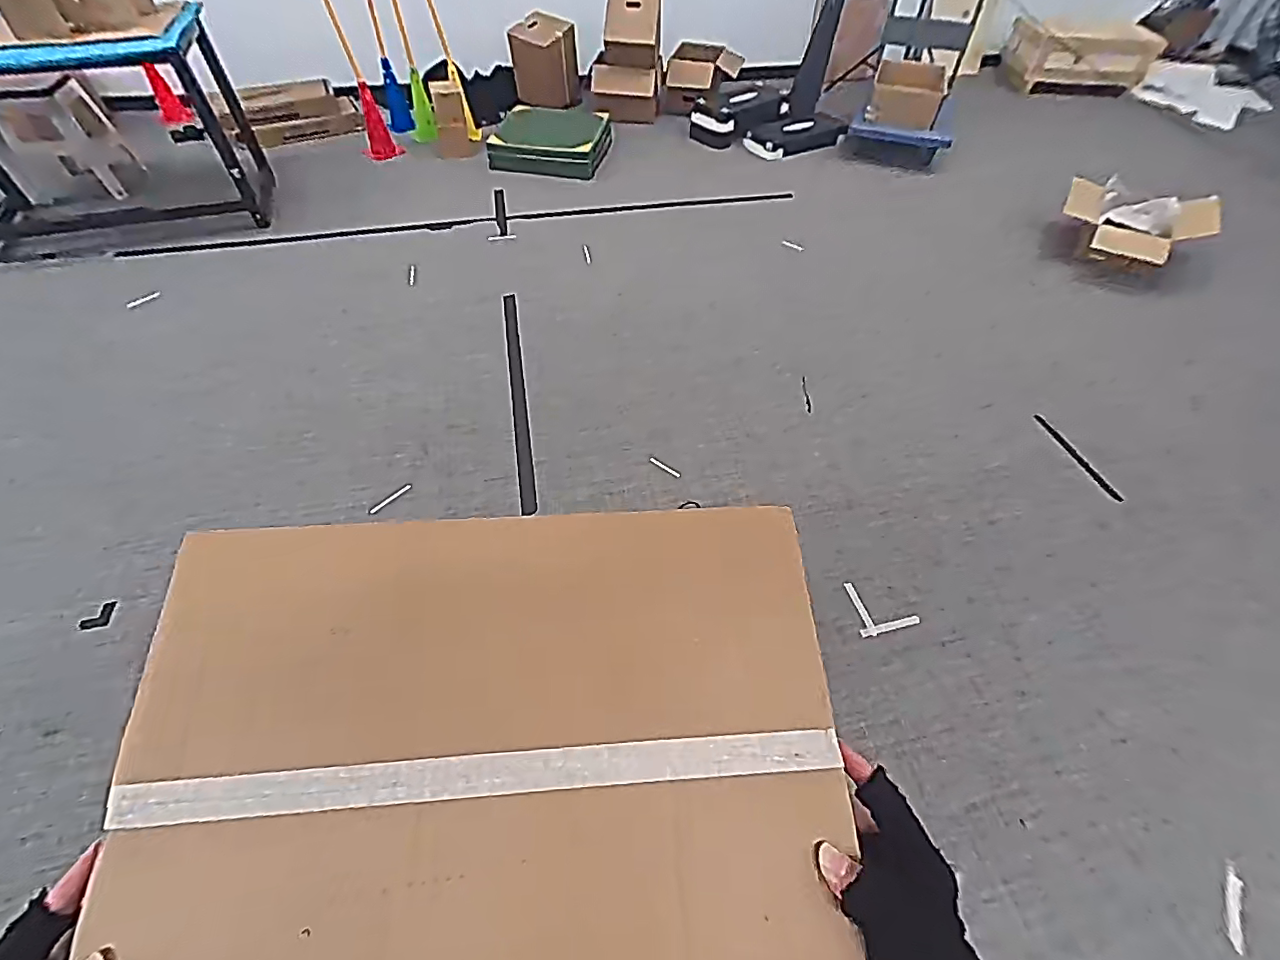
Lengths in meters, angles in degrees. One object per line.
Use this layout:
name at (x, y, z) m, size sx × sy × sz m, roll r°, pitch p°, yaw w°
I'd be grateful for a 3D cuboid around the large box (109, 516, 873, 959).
large box at (-0.086, 0.235, 0.454) m, size 0.408 × 0.320 × 0.320 m, roll -2°, pitch 67°, yaw -4°
